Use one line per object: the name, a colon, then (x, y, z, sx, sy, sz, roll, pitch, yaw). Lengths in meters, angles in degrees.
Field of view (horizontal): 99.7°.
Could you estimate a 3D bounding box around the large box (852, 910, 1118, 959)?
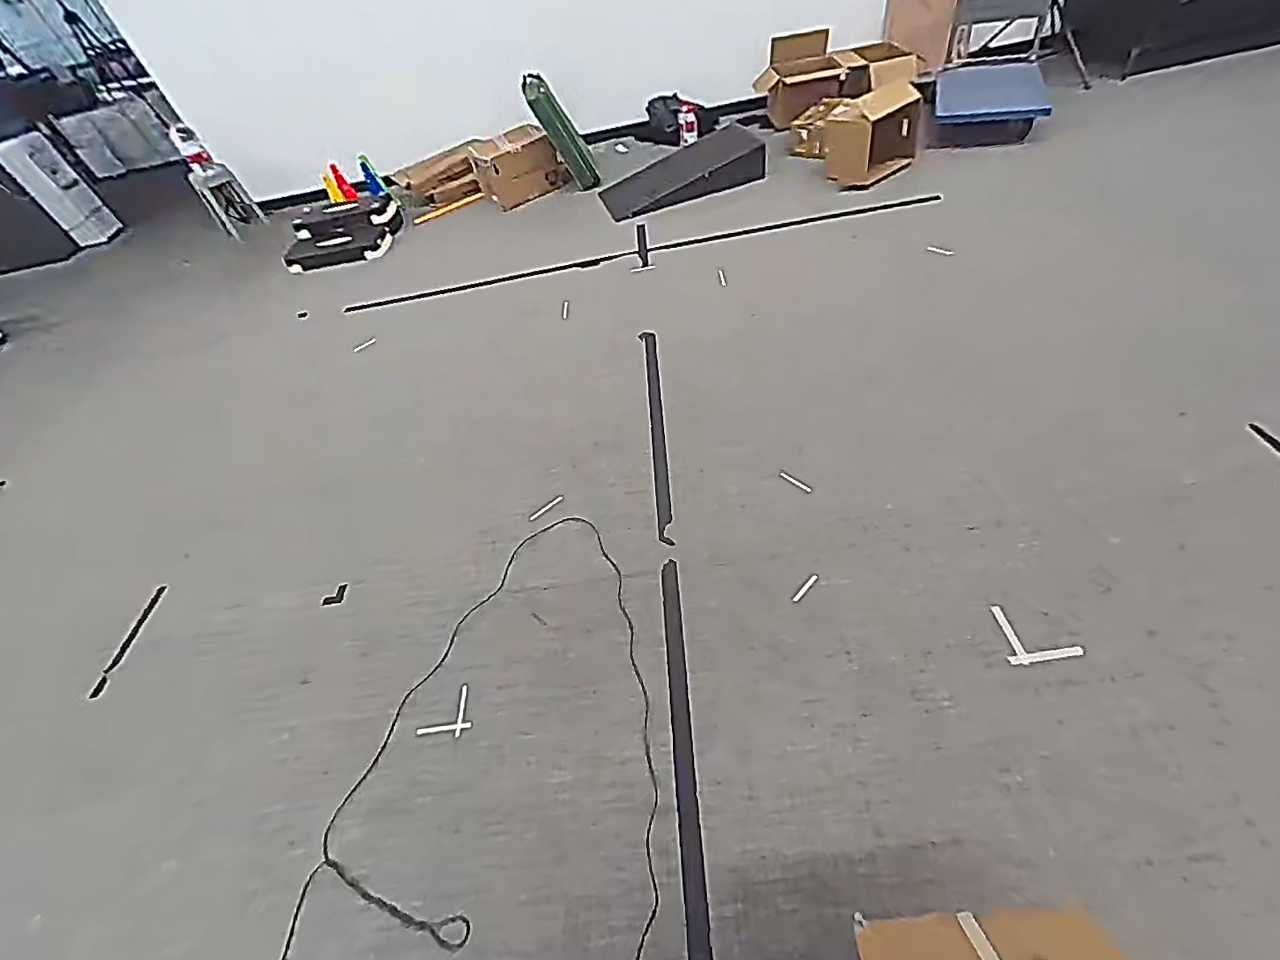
large box: (0.461, 0.763, 0.569, 0.320, 0.408, 0.320, -12, 81, 9)
